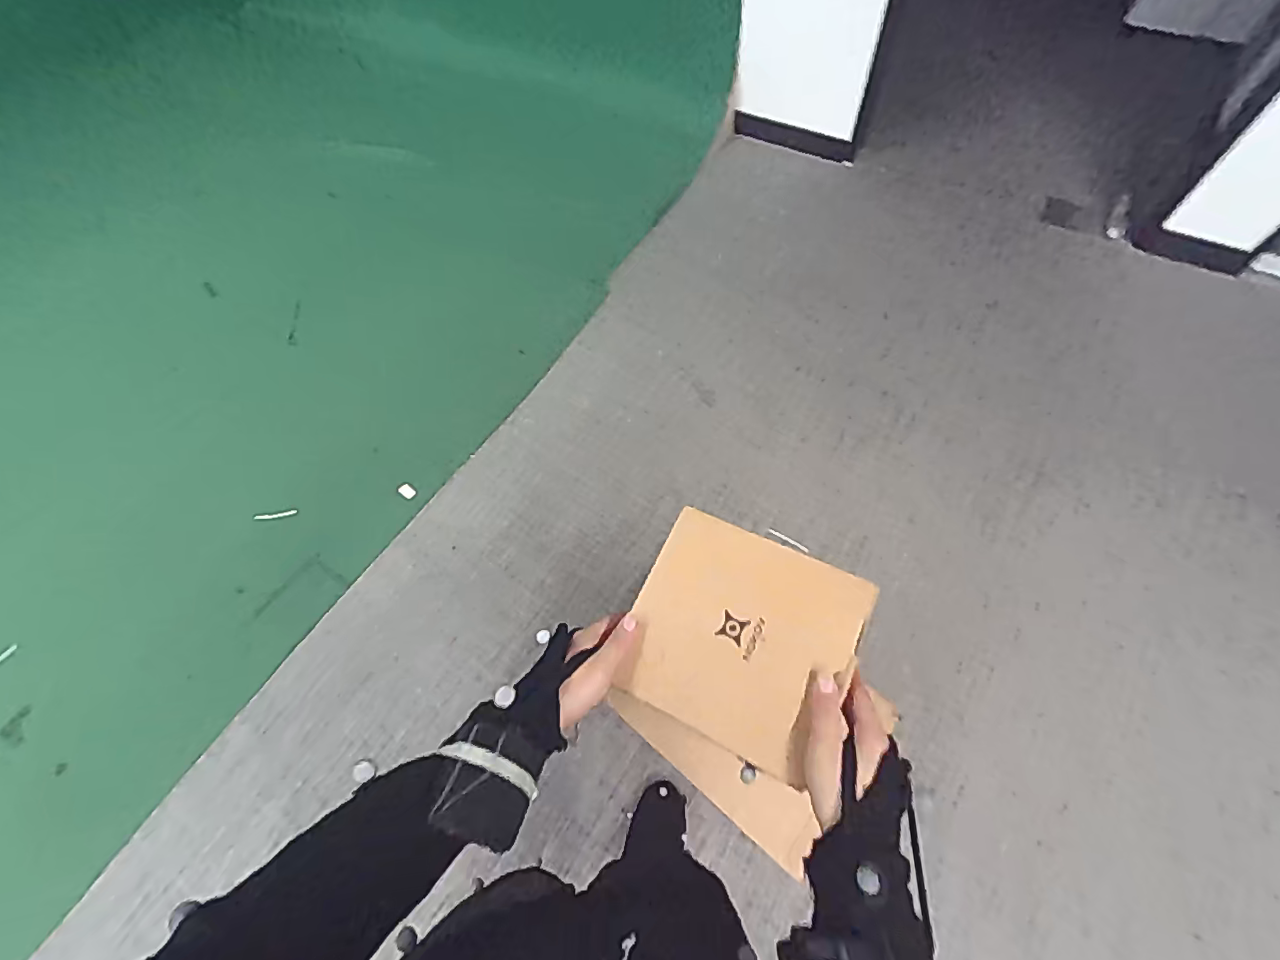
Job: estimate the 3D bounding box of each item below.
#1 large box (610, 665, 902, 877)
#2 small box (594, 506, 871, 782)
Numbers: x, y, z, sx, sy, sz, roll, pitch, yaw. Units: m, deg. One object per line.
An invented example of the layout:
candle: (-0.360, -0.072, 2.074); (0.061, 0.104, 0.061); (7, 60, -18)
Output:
large box: (0.201, 0.450, 1.053); (0.408, 0.320, 0.320); (36, 72, 19)
small box: (0.085, 0.153, 0.502); (0.179, 0.176, 0.168); (21, 70, 19)
